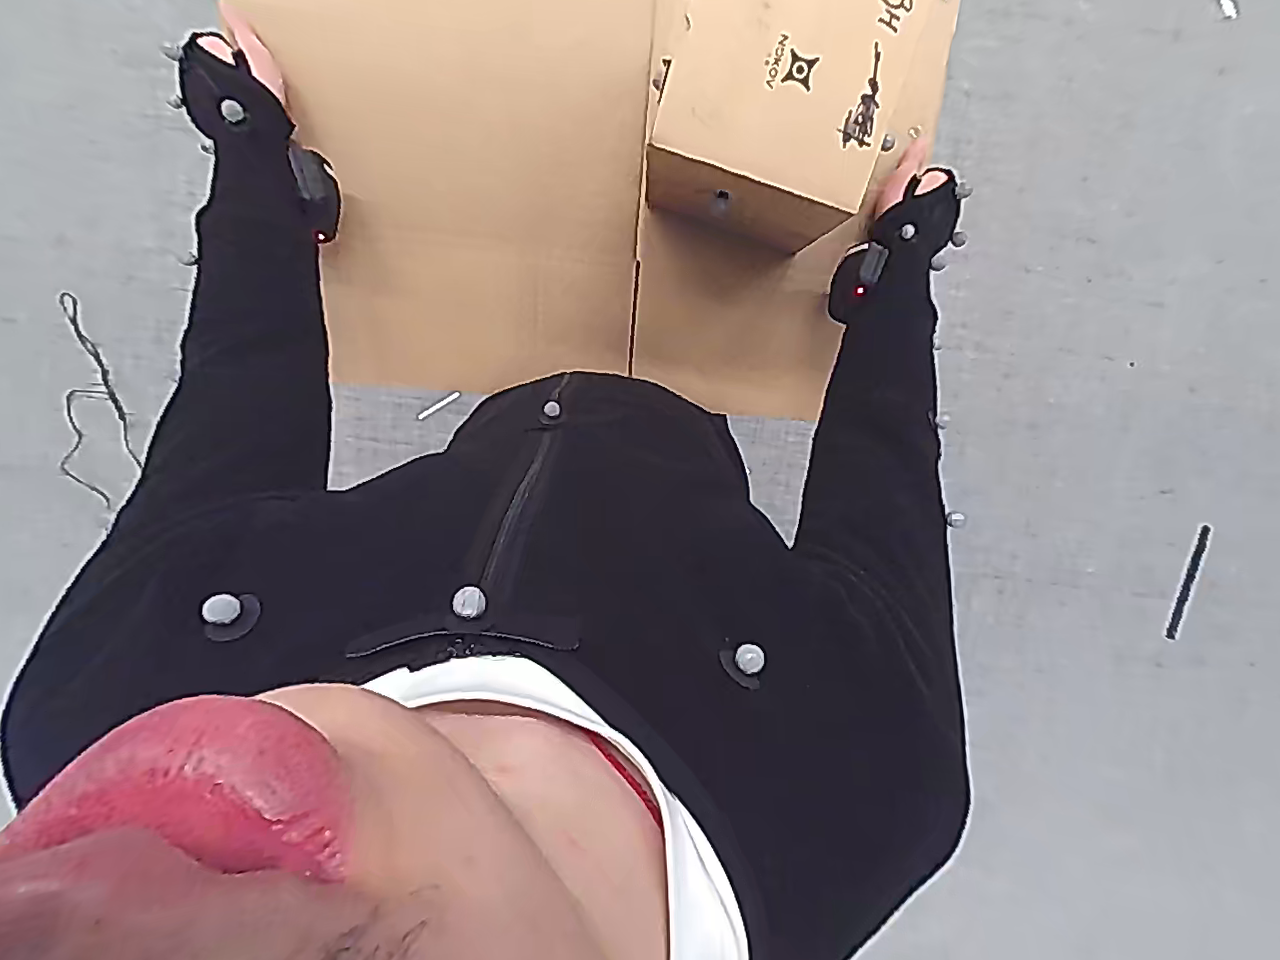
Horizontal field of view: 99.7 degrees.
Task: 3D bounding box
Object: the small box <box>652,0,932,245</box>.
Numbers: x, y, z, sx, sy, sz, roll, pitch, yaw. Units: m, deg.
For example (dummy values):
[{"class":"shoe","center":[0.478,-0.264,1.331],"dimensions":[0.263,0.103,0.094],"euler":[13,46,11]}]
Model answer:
[{"class":"small box","center":[0.116,-0.332,0.491],"dimensions":[0.179,0.176,0.168],"euler":[17,102,-3]}]
